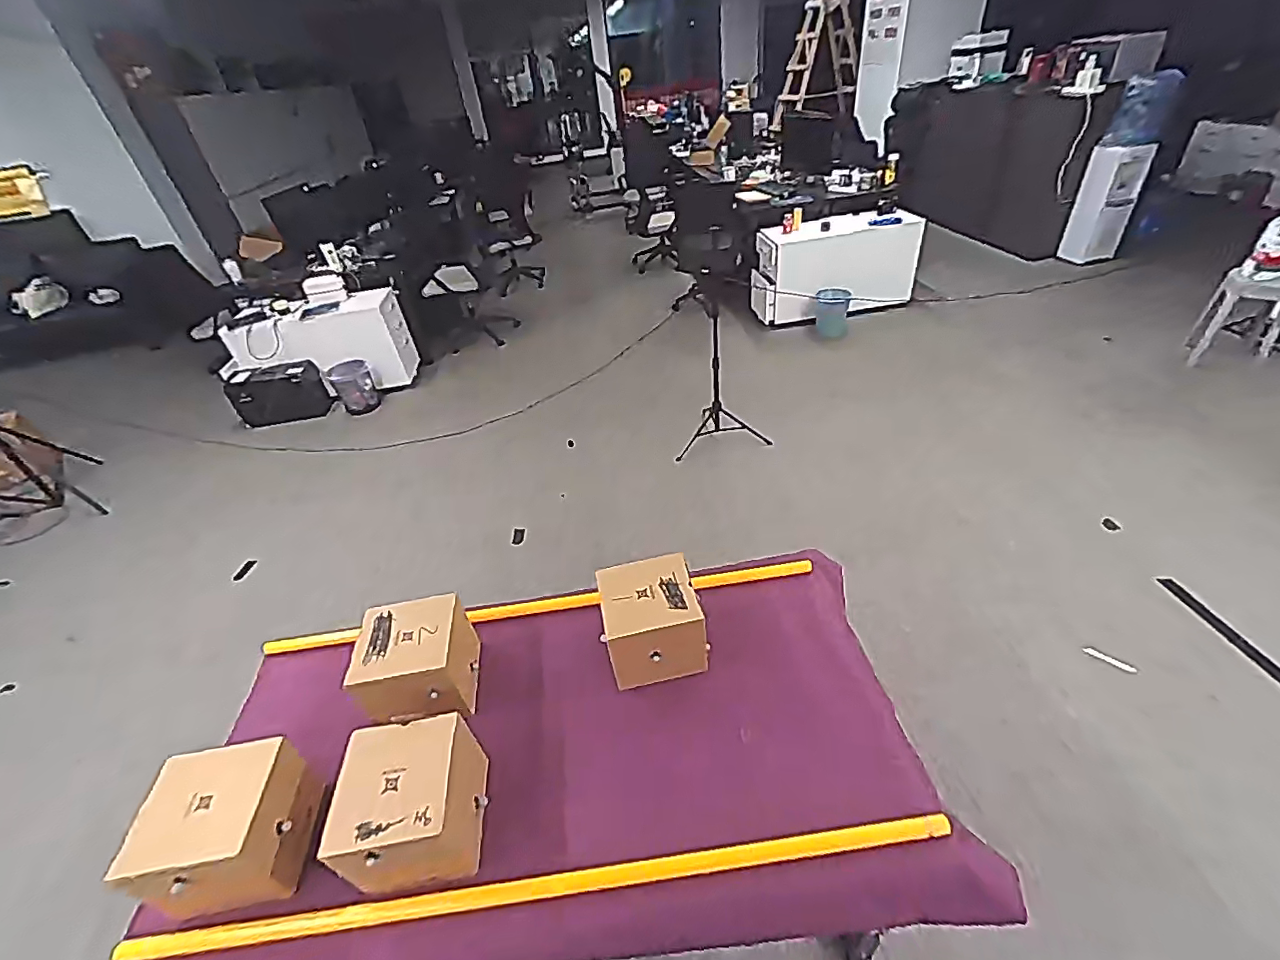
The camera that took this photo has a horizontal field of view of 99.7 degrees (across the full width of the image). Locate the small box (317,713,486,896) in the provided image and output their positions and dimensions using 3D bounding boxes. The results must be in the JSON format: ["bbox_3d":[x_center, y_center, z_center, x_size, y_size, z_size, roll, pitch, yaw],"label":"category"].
[{"bbox_3d":[-0.342,0.489,0.819,0.168,0.176,0.179,-10,37,-1],"label":"small box"}]

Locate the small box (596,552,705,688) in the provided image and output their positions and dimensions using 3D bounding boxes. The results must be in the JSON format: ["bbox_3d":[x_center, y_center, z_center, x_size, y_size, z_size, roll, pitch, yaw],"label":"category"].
[{"bbox_3d":[0.022,0.268,1.031,0.179,0.176,0.168,-12,39,-3],"label":"small box"}]

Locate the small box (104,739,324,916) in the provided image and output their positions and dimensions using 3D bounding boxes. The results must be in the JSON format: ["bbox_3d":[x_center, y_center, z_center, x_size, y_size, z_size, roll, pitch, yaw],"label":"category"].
[{"bbox_3d":[-0.620,0.527,0.821,0.179,0.176,0.168,-10,37,-3],"label":"small box"}]
